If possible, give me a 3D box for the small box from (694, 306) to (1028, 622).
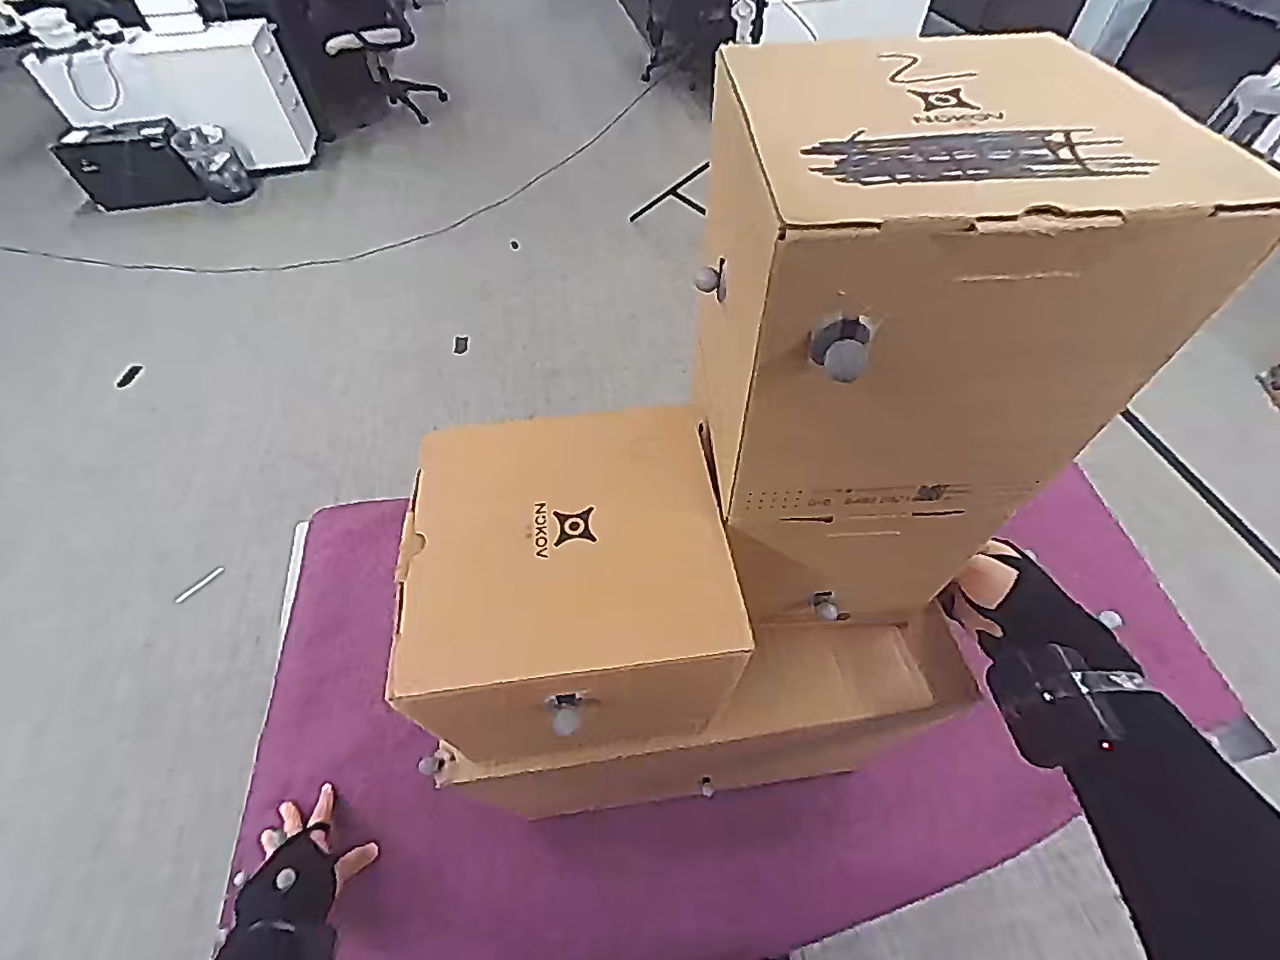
[{"bbox_3d":[0.133,-0.008,0.412,0.168,0.176,0.179,-3,54,0],"label":"small box"}]
